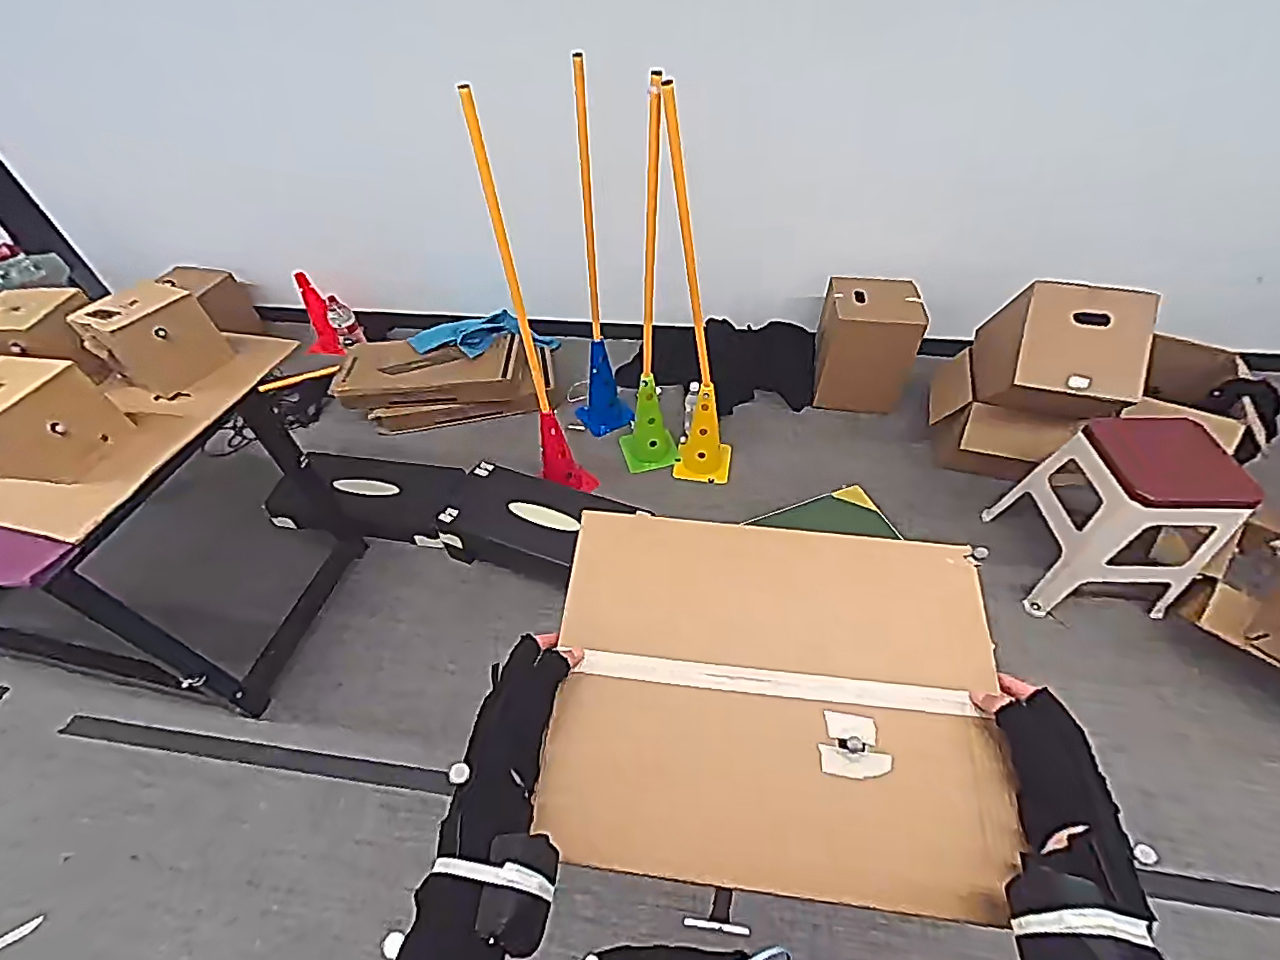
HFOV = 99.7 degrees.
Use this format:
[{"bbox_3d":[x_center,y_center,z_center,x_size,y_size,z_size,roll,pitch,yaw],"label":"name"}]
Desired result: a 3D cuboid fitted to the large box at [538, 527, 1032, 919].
[{"bbox_3d":[0.125,0.271,0.634,0.408,0.320,0.320,5,61,4],"label":"large box"}]
